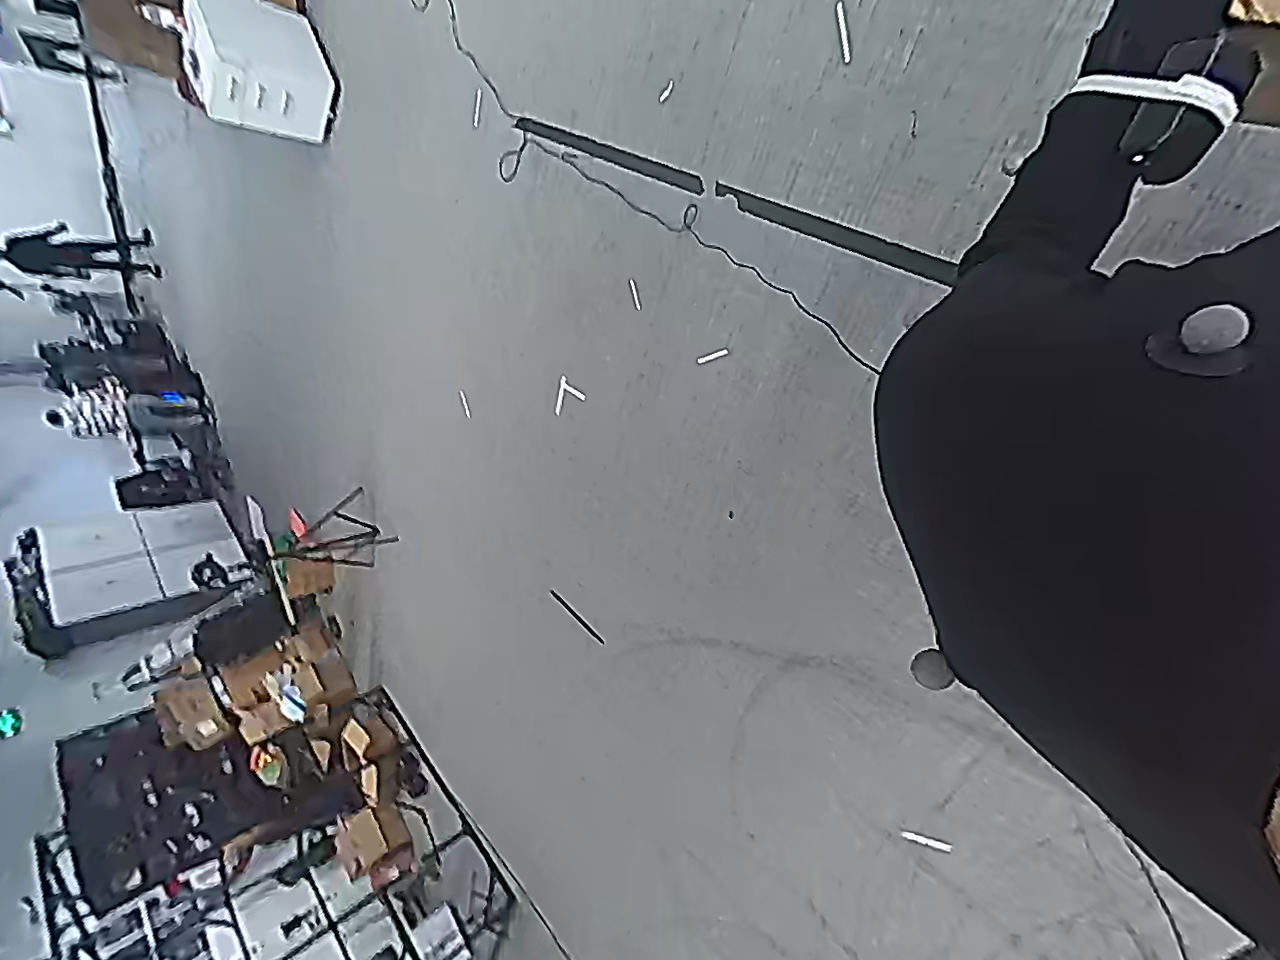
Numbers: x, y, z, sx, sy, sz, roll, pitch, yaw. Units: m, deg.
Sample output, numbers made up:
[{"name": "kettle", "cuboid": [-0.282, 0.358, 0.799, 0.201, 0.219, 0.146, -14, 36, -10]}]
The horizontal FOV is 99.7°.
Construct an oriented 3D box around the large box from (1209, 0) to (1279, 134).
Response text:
[{"name": "large box", "cuboid": [0.627, -0.343, 0.252, 0.408, 0.320, 0.320, 35, 128, 30]}]
